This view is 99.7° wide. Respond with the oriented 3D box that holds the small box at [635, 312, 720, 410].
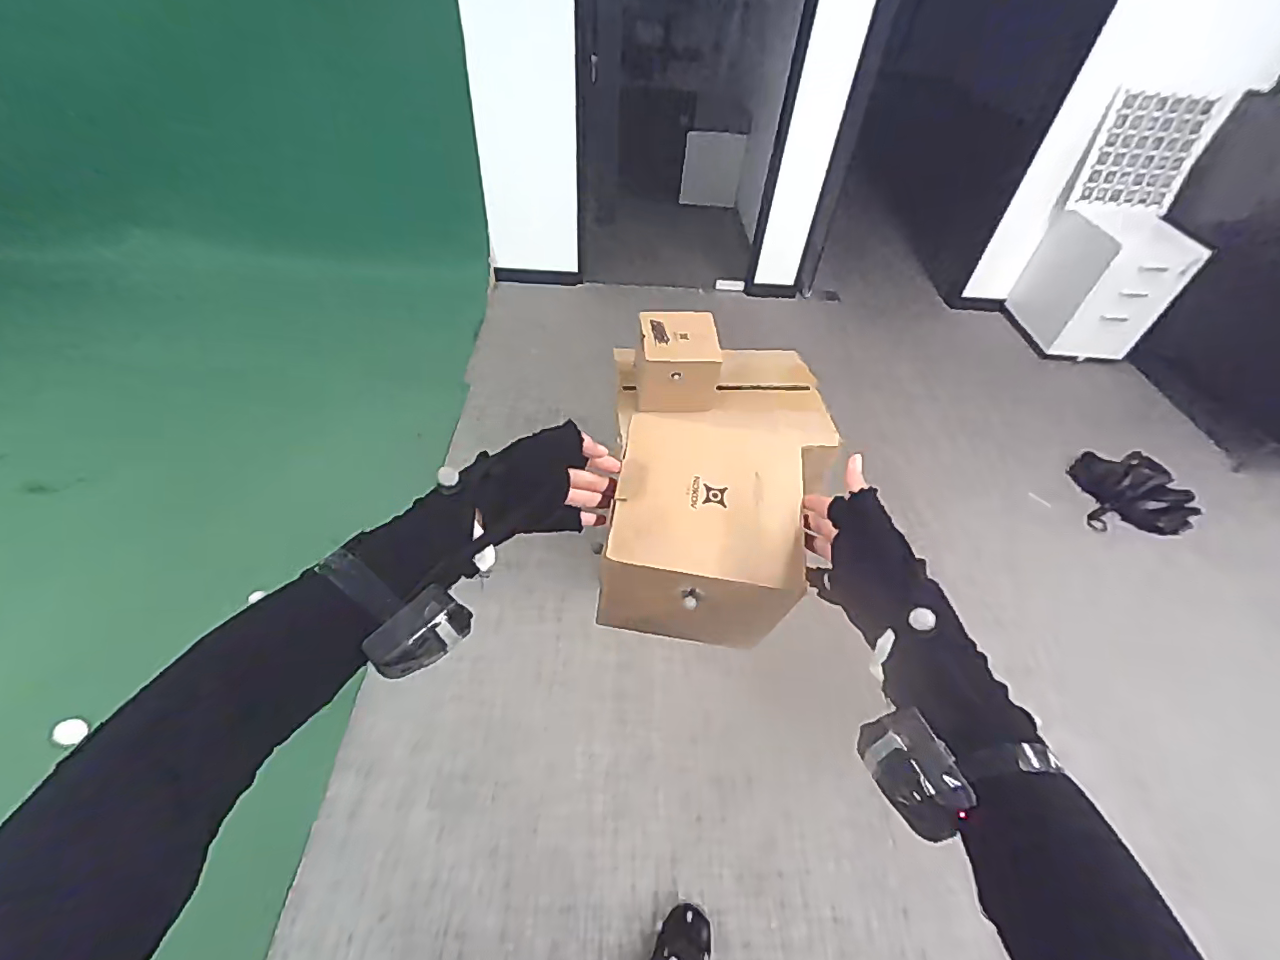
[{"bbox_3d":[0.081,-0.281,1.293,0.179,0.176,0.168,-1,56,-7],"label":"small box"}]
